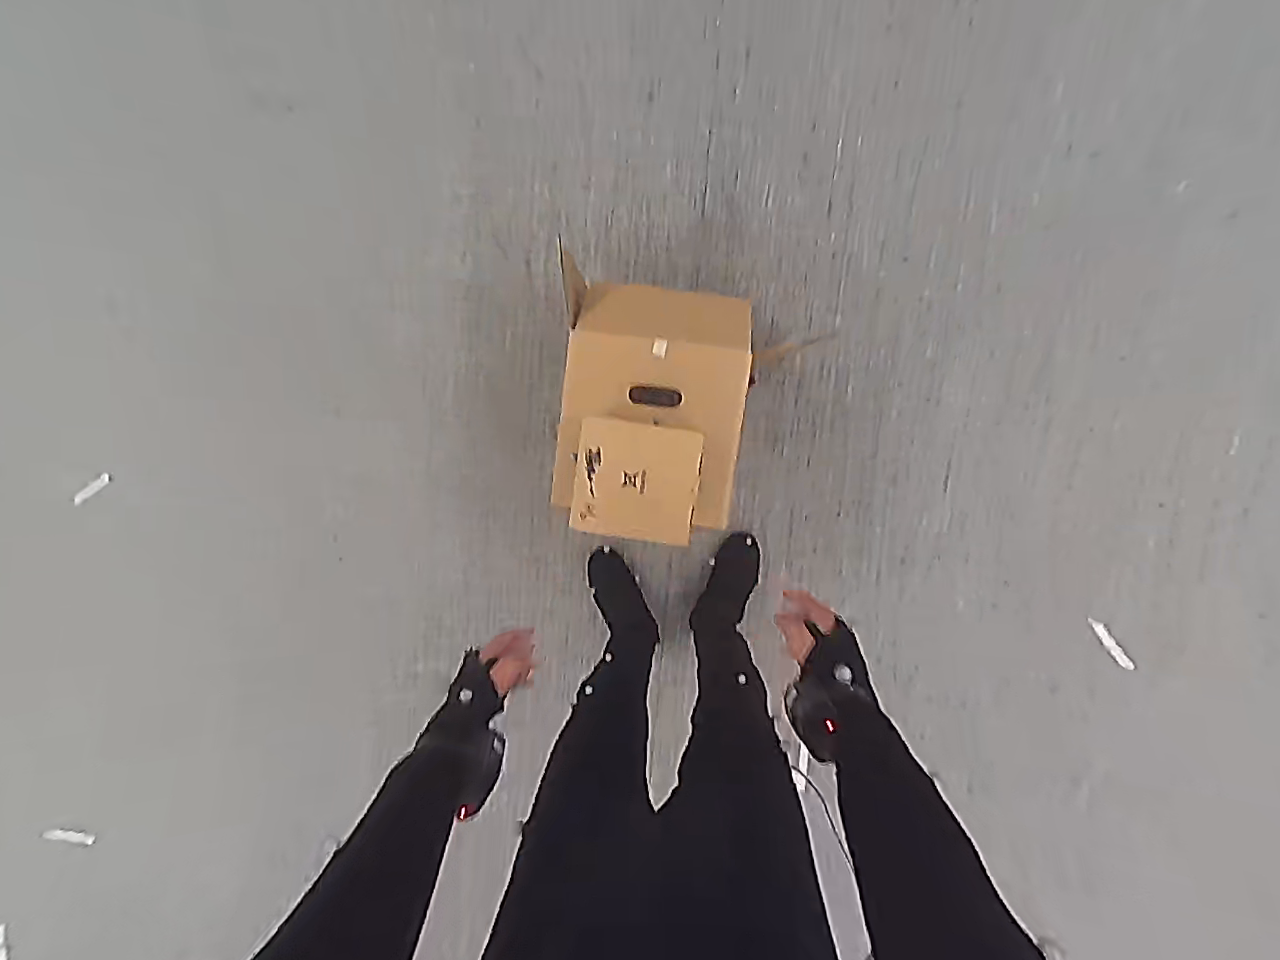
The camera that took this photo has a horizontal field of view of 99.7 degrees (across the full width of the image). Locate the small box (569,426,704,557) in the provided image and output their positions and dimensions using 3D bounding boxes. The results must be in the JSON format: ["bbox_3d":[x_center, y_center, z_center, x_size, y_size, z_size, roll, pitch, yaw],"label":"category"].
[{"bbox_3d":[-0.003,0.009,0.853,0.179,0.176,0.168,9,98,2],"label":"small box"}]
